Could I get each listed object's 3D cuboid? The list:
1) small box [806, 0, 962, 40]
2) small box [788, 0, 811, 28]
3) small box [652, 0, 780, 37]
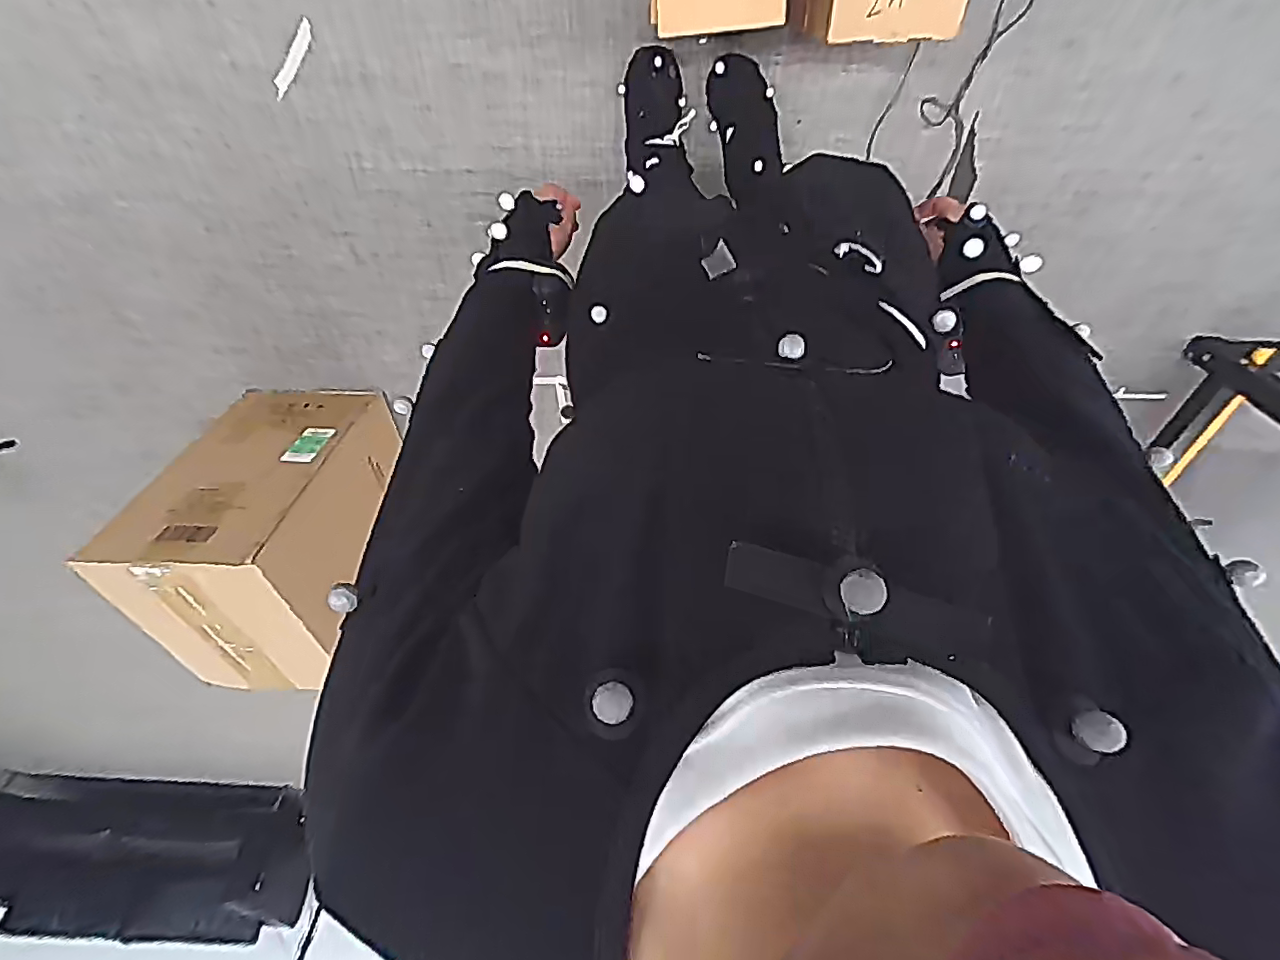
[{"bbox_3d":[0.322,-0.689,0.699,0.168,0.176,0.179,1,134,4],"label":"small box"},{"bbox_3d":[0.329,-0.802,0.819,0.168,0.176,0.179,2,134,2],"label":"small box"},{"bbox_3d":[0.098,-0.704,0.705,0.168,0.176,0.179,-1,132,5],"label":"small box"}]
